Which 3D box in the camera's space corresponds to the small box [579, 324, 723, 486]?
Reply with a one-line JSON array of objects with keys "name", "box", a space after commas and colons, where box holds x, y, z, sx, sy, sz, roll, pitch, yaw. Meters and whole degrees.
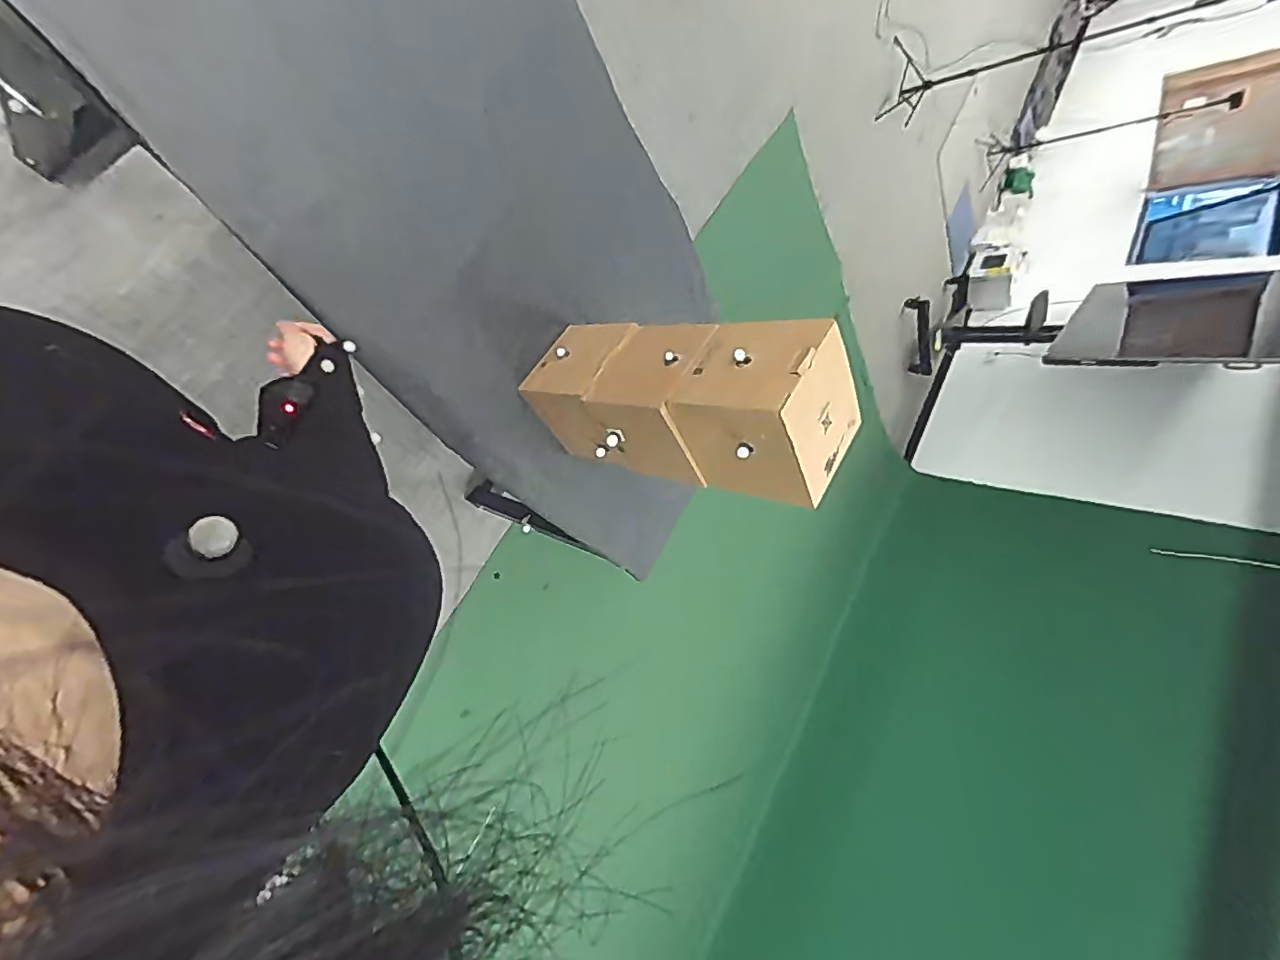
[{"name": "small box", "box": [0.040, -0.119, 0.825, 0.179, 0.176, 0.168, -54, 132, -22]}]

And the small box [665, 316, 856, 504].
[{"name": "small box", "box": [0.161, -0.093, 0.719, 0.168, 0.176, 0.179, -54, 132, -24]}]

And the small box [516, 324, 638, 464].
[{"name": "small box", "box": [-0.075, -0.152, 0.936, 0.168, 0.176, 0.179, -57, 135, -22]}]
